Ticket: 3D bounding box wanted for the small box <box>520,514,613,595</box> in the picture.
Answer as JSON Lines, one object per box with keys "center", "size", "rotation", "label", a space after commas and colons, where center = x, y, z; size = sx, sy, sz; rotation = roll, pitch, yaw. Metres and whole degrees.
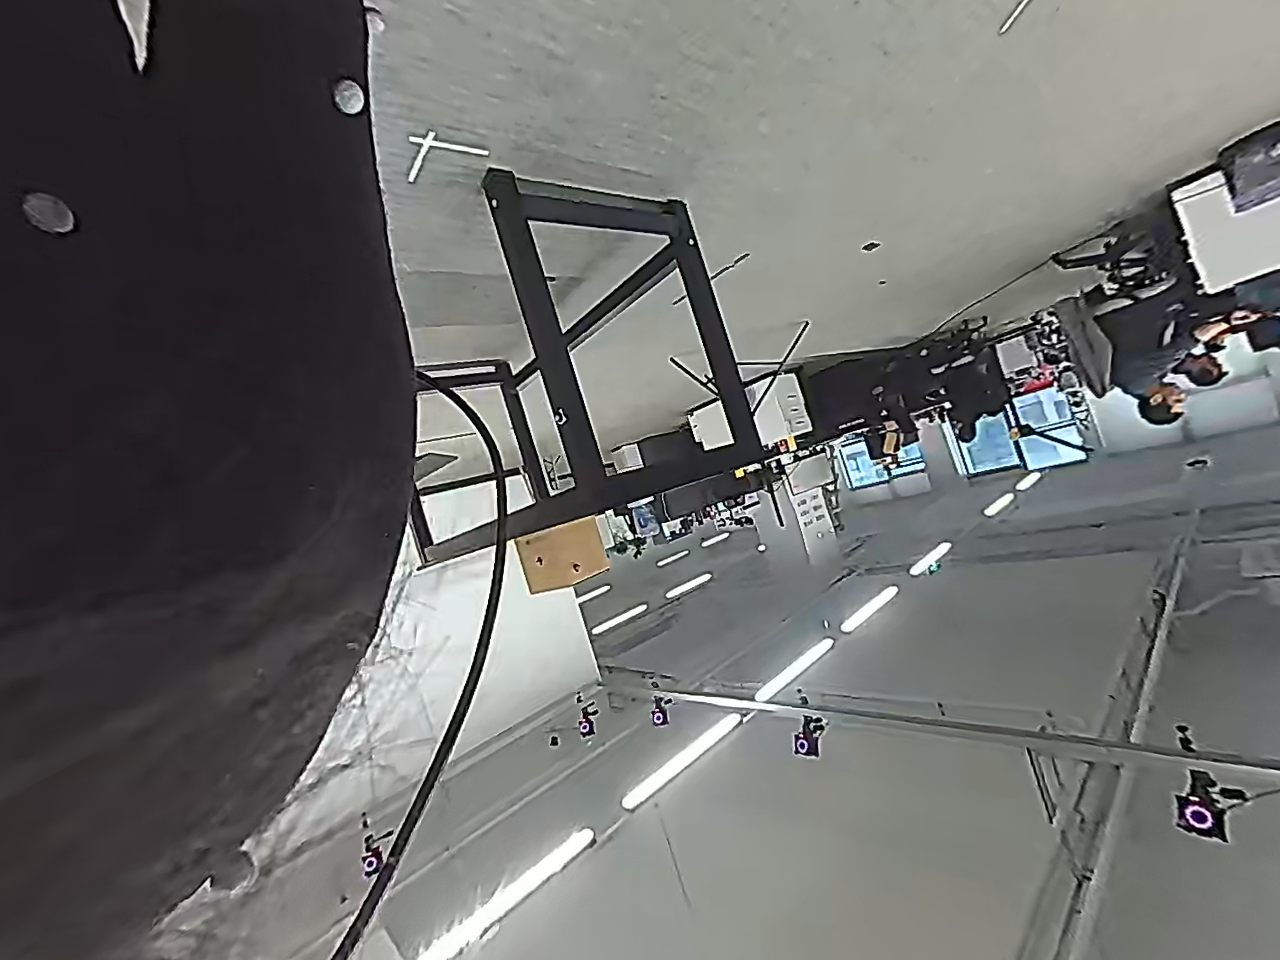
{"center": [-0.213, 0.209, 1.536], "size": [0.168, 0.176, 0.179], "rotation": [-19, 178, 39], "label": "small box"}
